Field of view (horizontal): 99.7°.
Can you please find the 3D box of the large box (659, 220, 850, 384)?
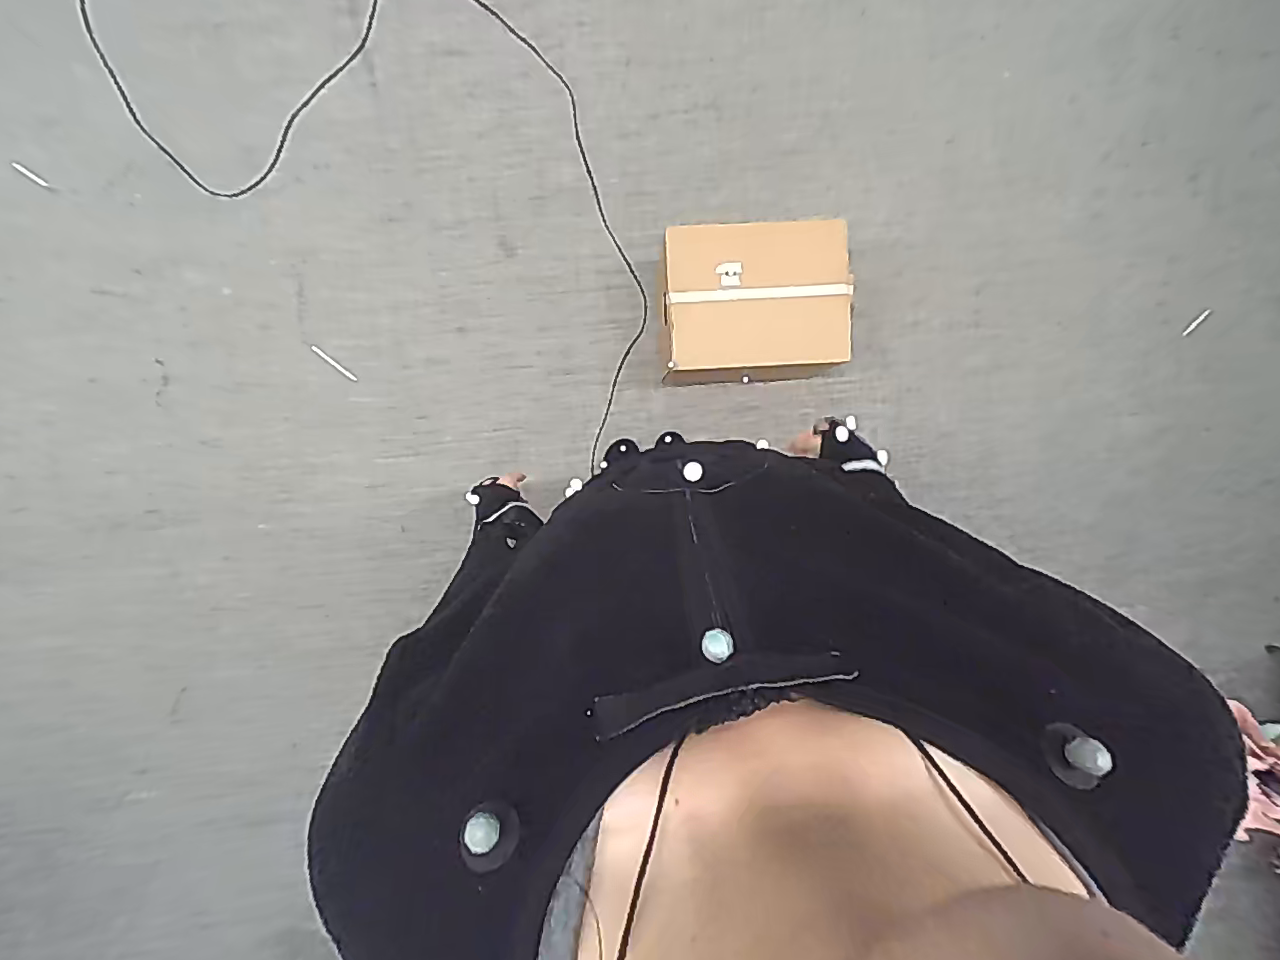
[{"bbox_3d":[0.262,-0.417,1.344,0.408,0.320,0.320,-3,93,-1],"label":"large box"}]
